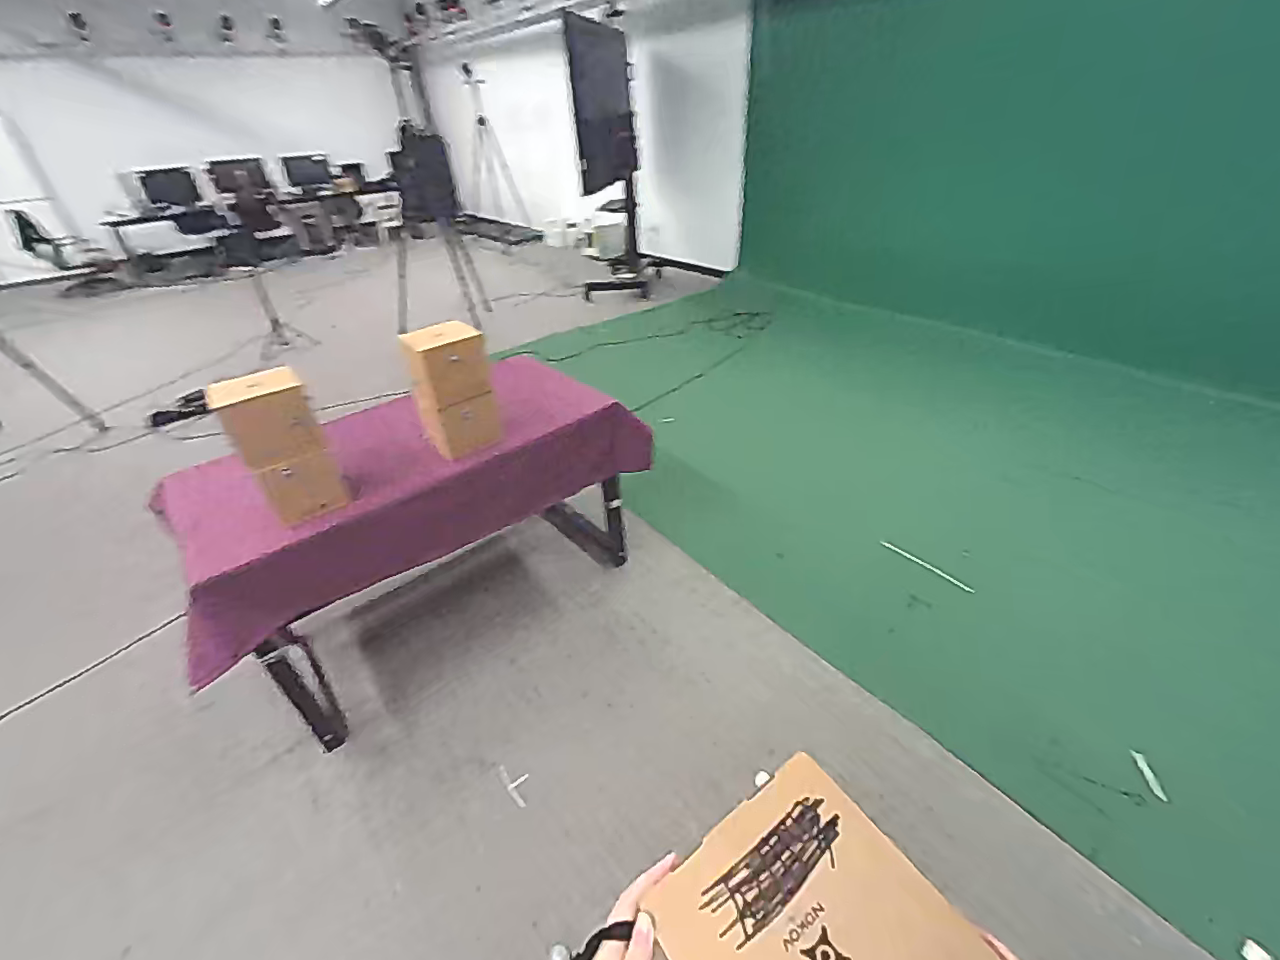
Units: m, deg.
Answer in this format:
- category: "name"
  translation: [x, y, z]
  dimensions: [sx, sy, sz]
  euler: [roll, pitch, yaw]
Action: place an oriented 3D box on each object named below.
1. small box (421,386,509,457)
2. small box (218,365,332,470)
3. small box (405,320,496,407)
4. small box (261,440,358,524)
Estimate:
- category: "small box"
  translation: [-0.510, -0.189, 1.591]
  dimensions: [0.179, 0.176, 0.168]
  euler: [-27, 41, -30]
- category: "small box"
  translation: [-0.860, -0.151, 1.287]
  dimensions: [0.179, 0.176, 0.168]
  euler: [-26, 40, -27]
- category: "small box"
  translation: [-0.517, -0.324, 1.500]
  dimensions: [0.179, 0.176, 0.168]
  euler: [-29, 42, -29]
- category: "small box"
  translation: [-0.850, -0.016, 1.380]
  dimensions: [0.168, 0.176, 0.179]
  euler: [-27, 40, -28]
